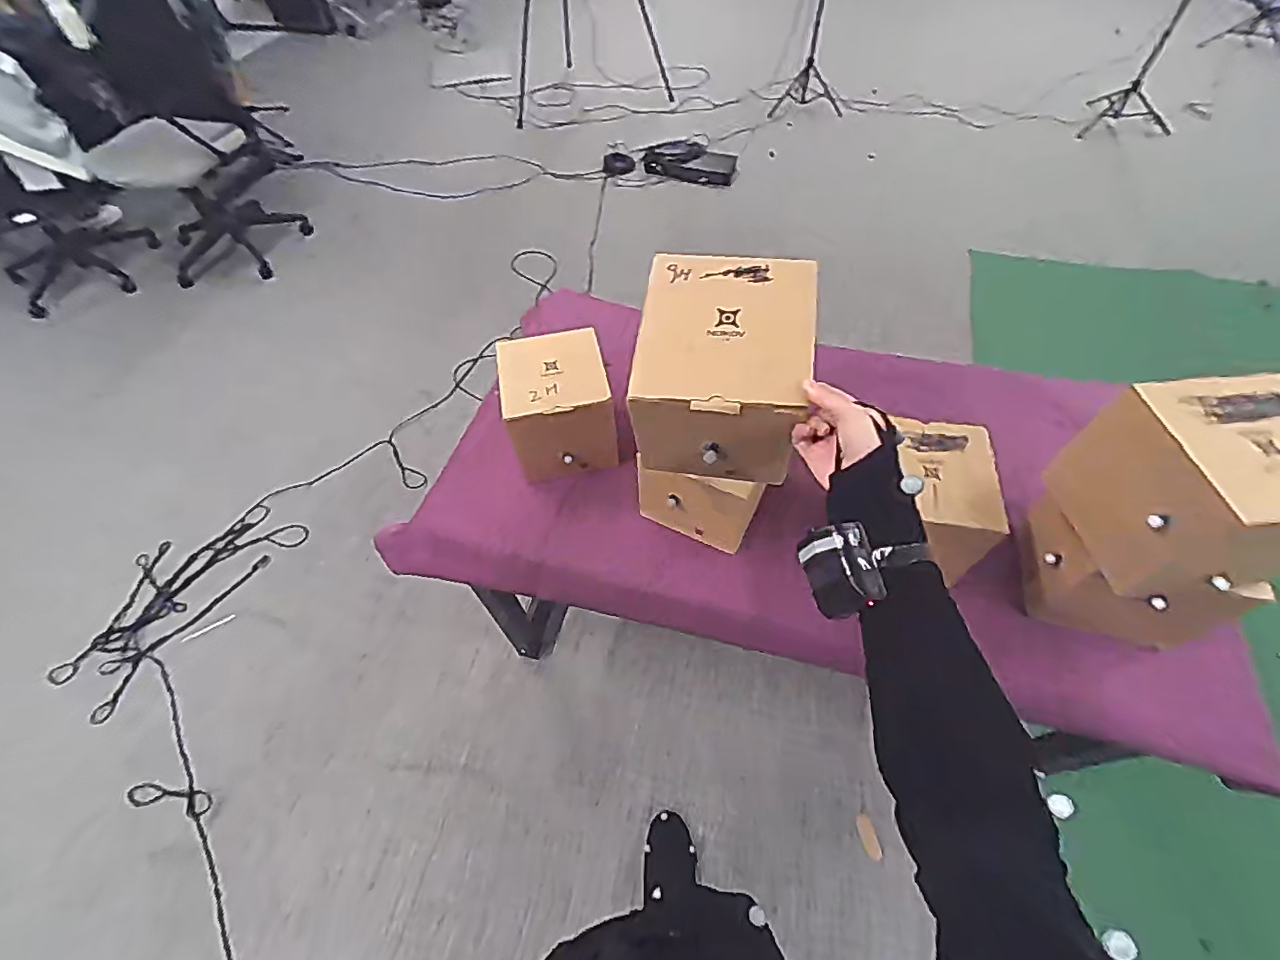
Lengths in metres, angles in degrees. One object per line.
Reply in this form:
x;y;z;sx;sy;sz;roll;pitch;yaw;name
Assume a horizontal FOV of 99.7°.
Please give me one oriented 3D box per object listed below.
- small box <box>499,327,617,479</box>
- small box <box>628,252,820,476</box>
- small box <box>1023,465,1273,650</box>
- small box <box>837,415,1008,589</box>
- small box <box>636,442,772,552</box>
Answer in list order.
-0.135;-0.127;0.911;0.168;0.176;0.179;-10;56;-5;small box
0.092;-0.118;0.591;0.168;0.176;0.179;7;69;9;small box
0.645;0.108;0.723;0.179;0.176;0.168;13;56;11;small box
0.390;0.034;0.784;0.168;0.176;0.179;9;56;8;small box
0.109;-0.019;0.832;0.168;0.176;0.179;23;58;17;small box
